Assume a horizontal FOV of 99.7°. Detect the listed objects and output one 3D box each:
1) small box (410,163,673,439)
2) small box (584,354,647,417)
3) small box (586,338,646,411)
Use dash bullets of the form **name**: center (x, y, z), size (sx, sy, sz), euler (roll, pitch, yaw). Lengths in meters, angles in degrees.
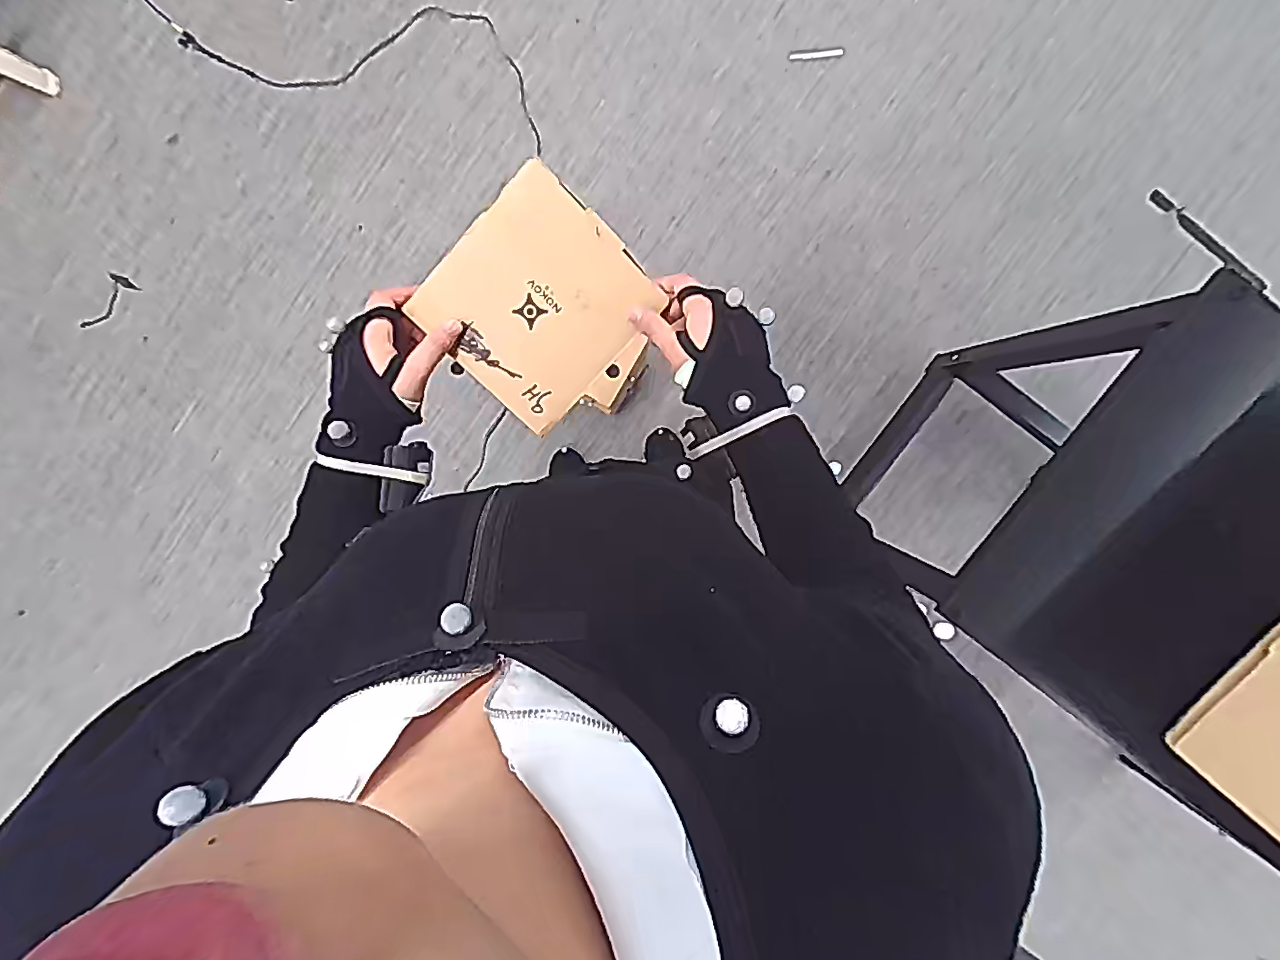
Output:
- **small box**: center (-0.091, -0.170, 0.552), size (0.168, 0.176, 0.179), euler (42, 98, -11)
- **small box**: center (-0.097, -0.277, 1.389), size (0.168, 0.176, 0.179), euler (33, 95, -2)
- **small box**: center (-0.096, -0.269, 1.226), size (0.168, 0.176, 0.179), euler (29, 93, -3)
